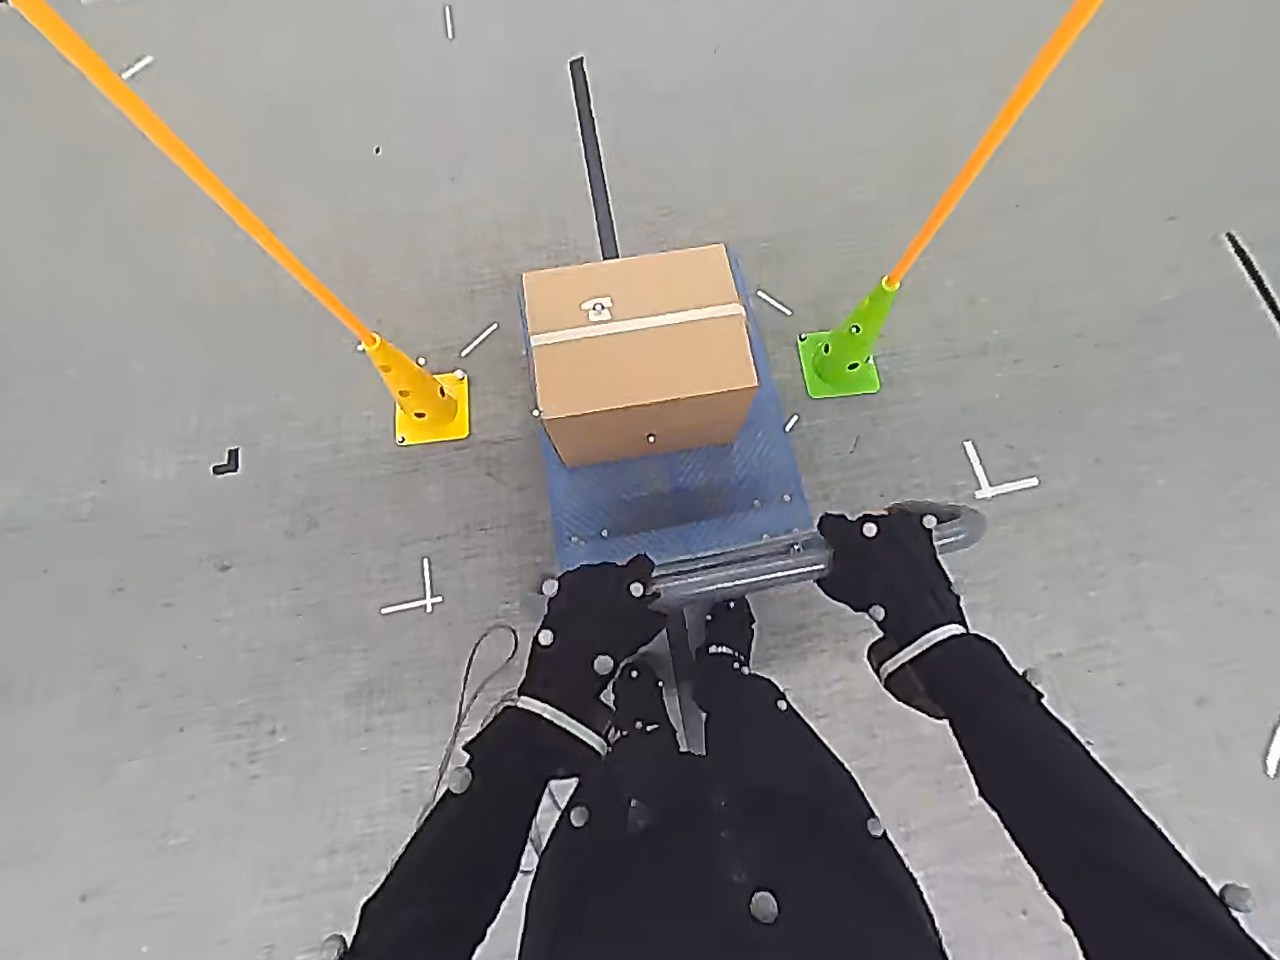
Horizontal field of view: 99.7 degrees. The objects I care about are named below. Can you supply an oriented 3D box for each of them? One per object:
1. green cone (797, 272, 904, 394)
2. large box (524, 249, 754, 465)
[{"bbox_3d":[0.550,-0.384,1.348,0.202,0.368,0.200,-6,74,-2],"label":"green cone"},{"bbox_3d":[-0.004,-0.243,1.170,0.408,0.320,0.320,-9,75,-1],"label":"large box"}]
